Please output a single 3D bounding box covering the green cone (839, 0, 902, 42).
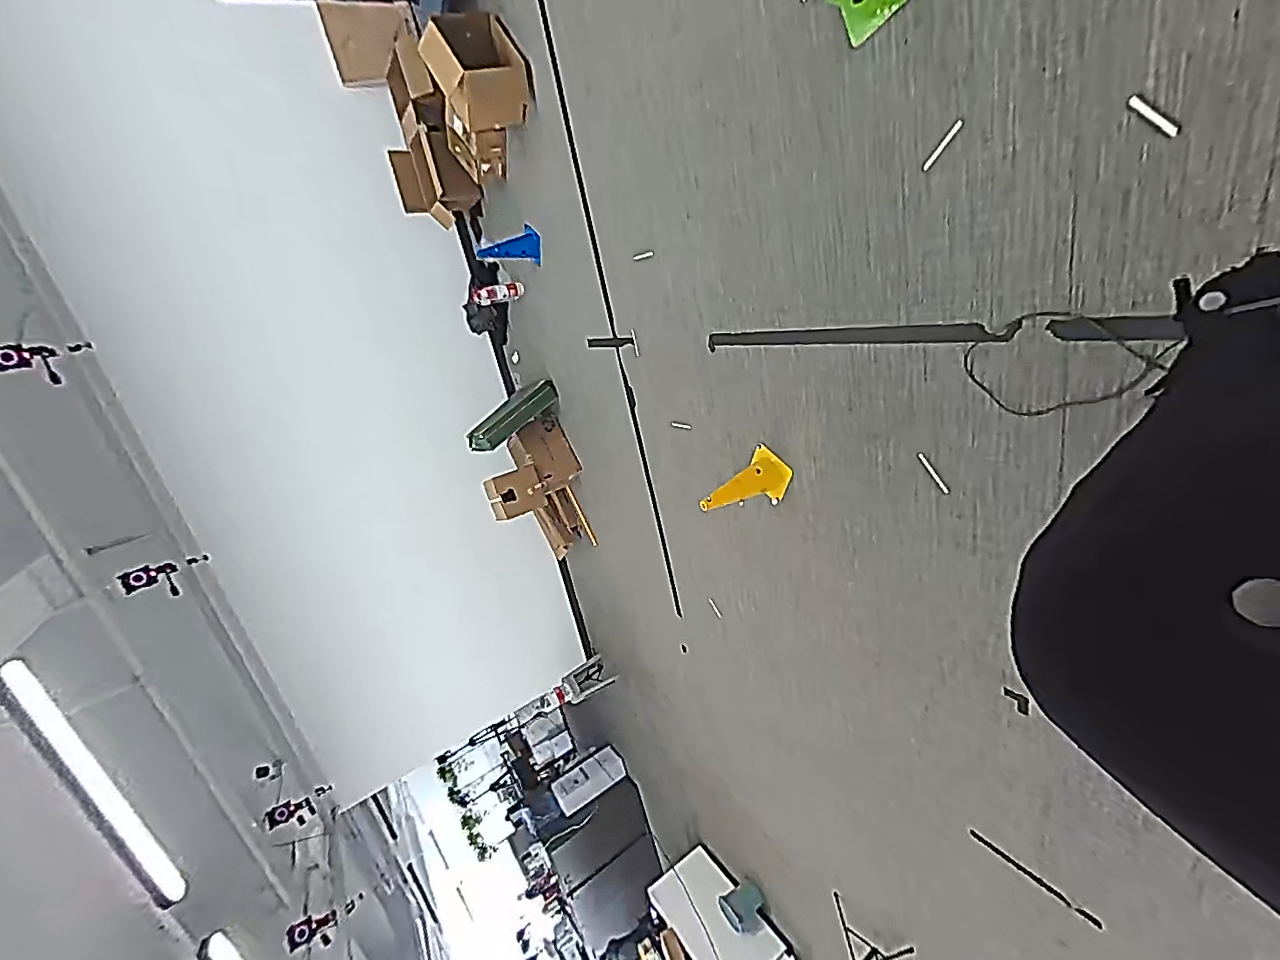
[{"bbox_3d":[0.414,-1.138,1.198,0.202,0.368,0.200,-10,102,62],"label":"green cone"}]
